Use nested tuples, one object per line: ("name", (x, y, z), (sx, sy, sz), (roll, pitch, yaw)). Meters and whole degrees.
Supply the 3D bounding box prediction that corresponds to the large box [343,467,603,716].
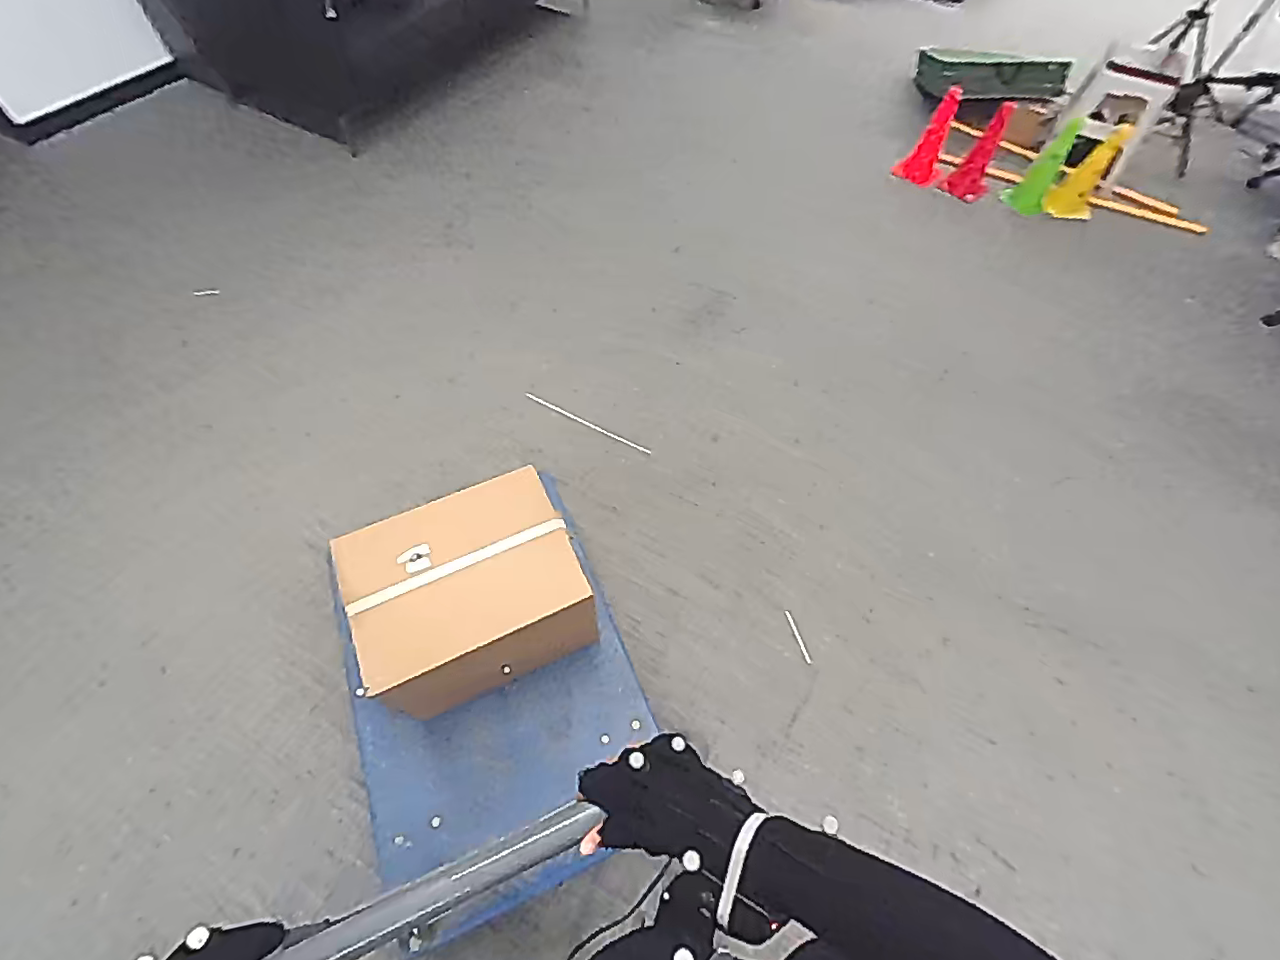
("large box", (-0.321, 0.238, 1.130), (0.408, 0.320, 0.320), (-23, 62, -14))
